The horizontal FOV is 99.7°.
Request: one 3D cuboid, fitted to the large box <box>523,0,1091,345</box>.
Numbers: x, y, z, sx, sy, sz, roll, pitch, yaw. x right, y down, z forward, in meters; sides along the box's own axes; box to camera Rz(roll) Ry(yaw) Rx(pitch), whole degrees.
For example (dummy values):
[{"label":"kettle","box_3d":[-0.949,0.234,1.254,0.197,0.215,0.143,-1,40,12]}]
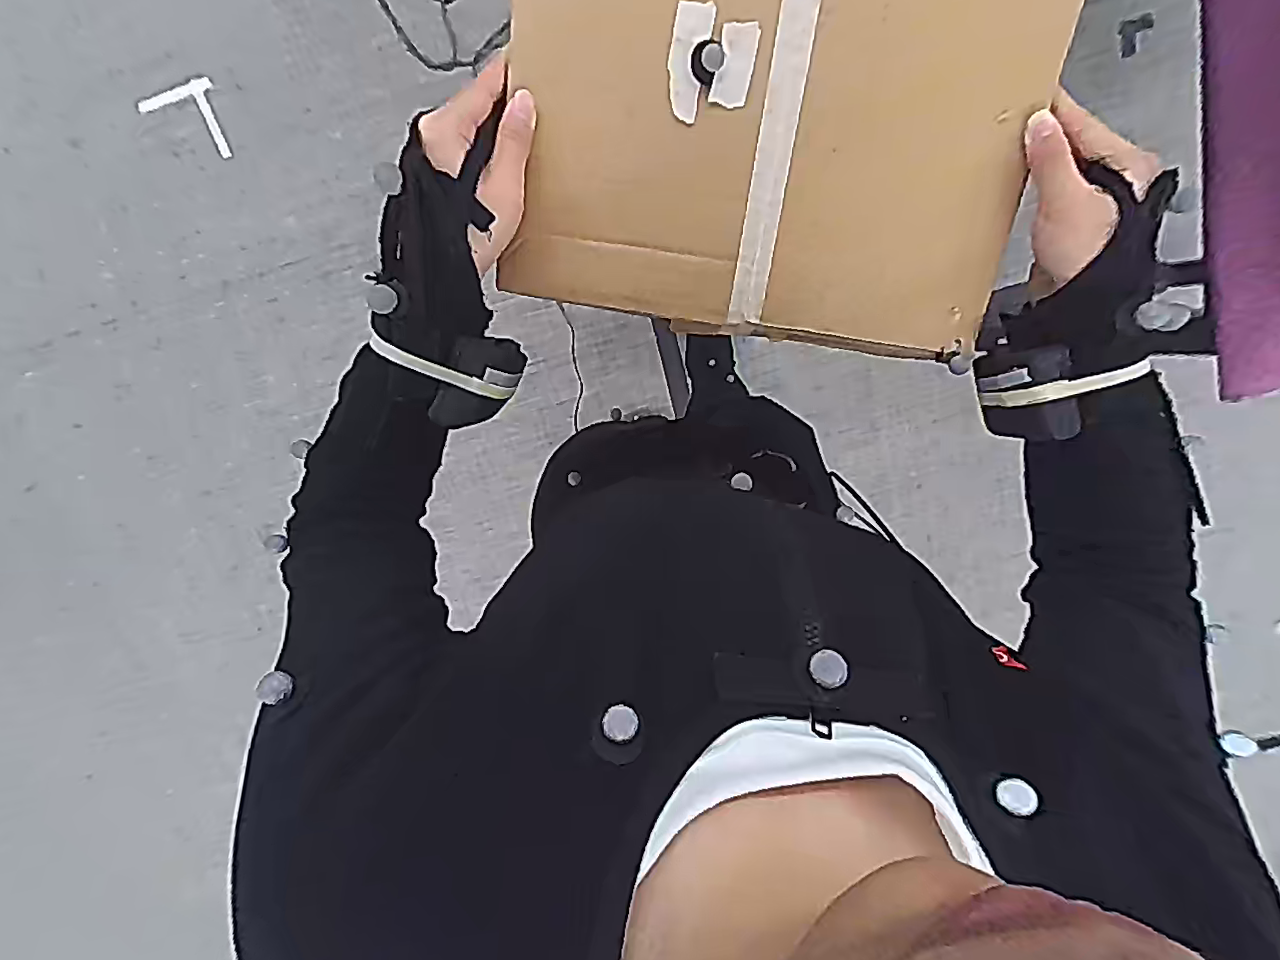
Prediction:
[{"label":"large box","box_3d":[0.096,-0.338,0.427,0.320,0.320,0.408,7,107,-3]}]
